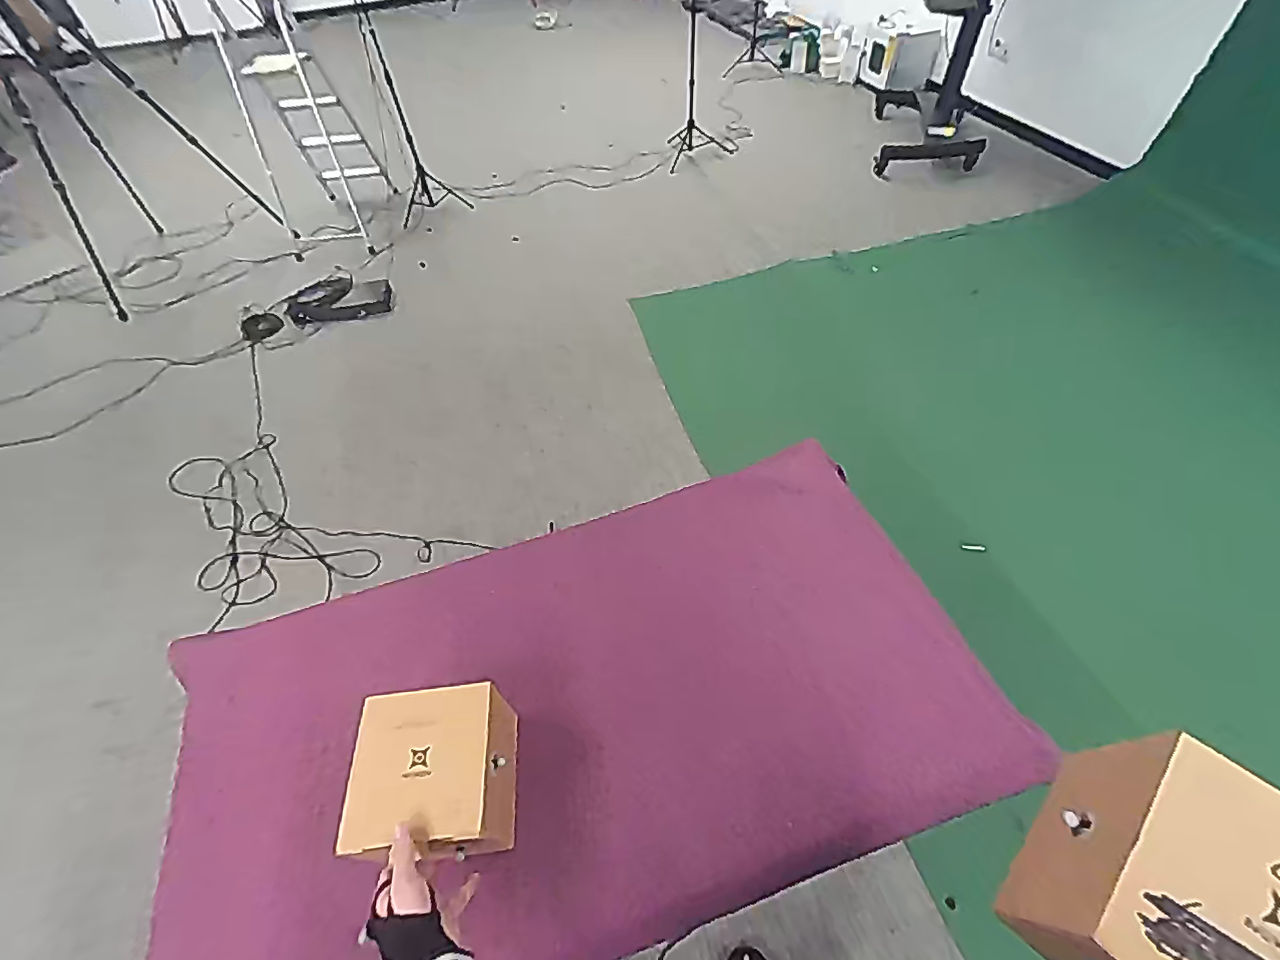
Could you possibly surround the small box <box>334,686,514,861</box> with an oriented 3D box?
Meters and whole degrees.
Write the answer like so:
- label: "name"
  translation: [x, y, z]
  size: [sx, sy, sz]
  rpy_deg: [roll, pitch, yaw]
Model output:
- label: "small box"
  translation: [-0.270, 0.396, 0.723]
  size: [0.168, 0.176, 0.179]
  rpy_deg: [-6, 51, -2]
